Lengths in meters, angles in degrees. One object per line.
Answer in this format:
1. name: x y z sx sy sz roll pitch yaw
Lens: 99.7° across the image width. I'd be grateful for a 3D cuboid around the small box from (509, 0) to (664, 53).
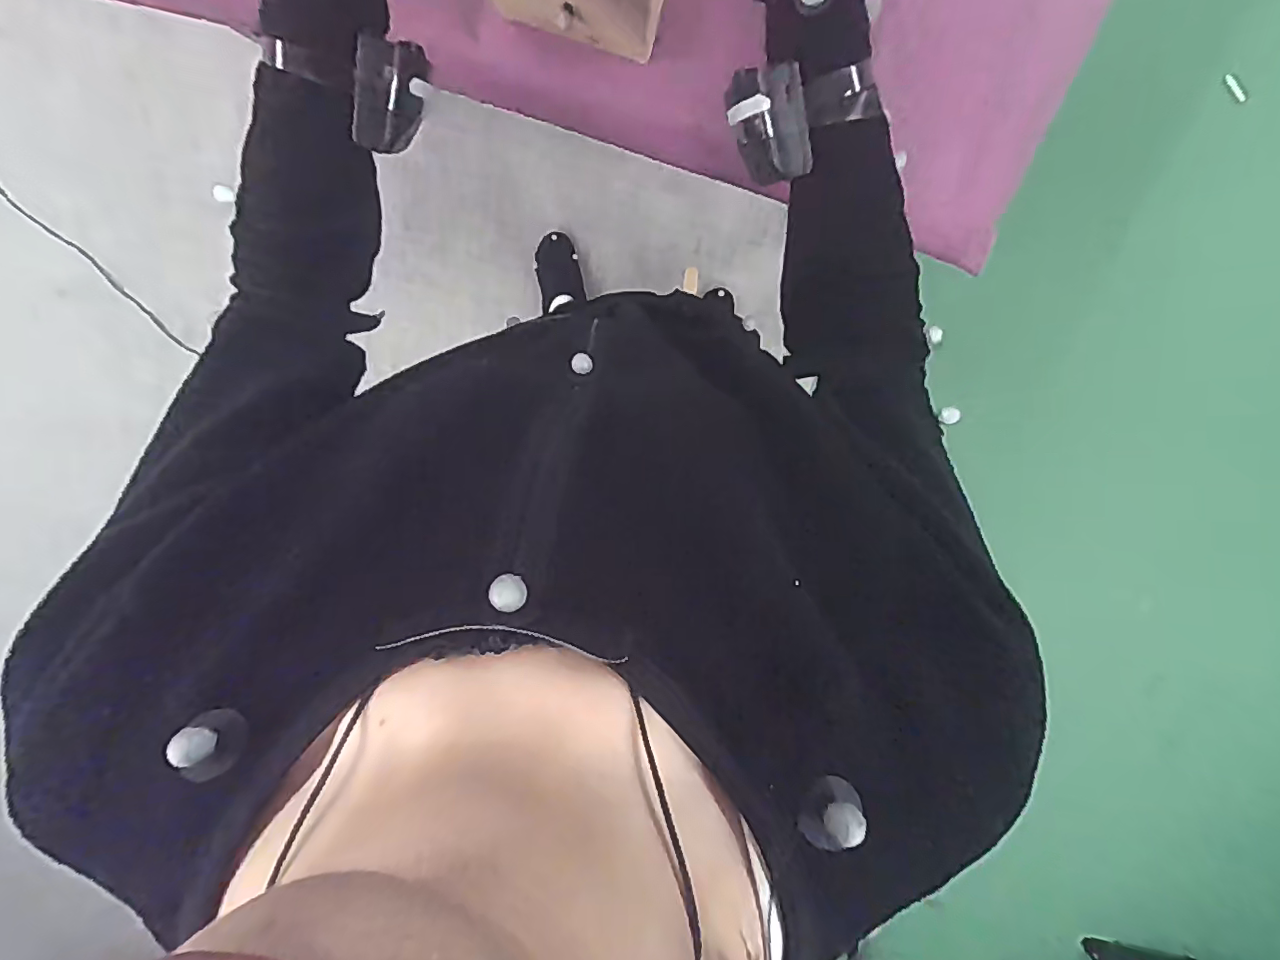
1. small box: -0.046 -0.523 0.476 0.168 0.176 0.179 14 110 -6
